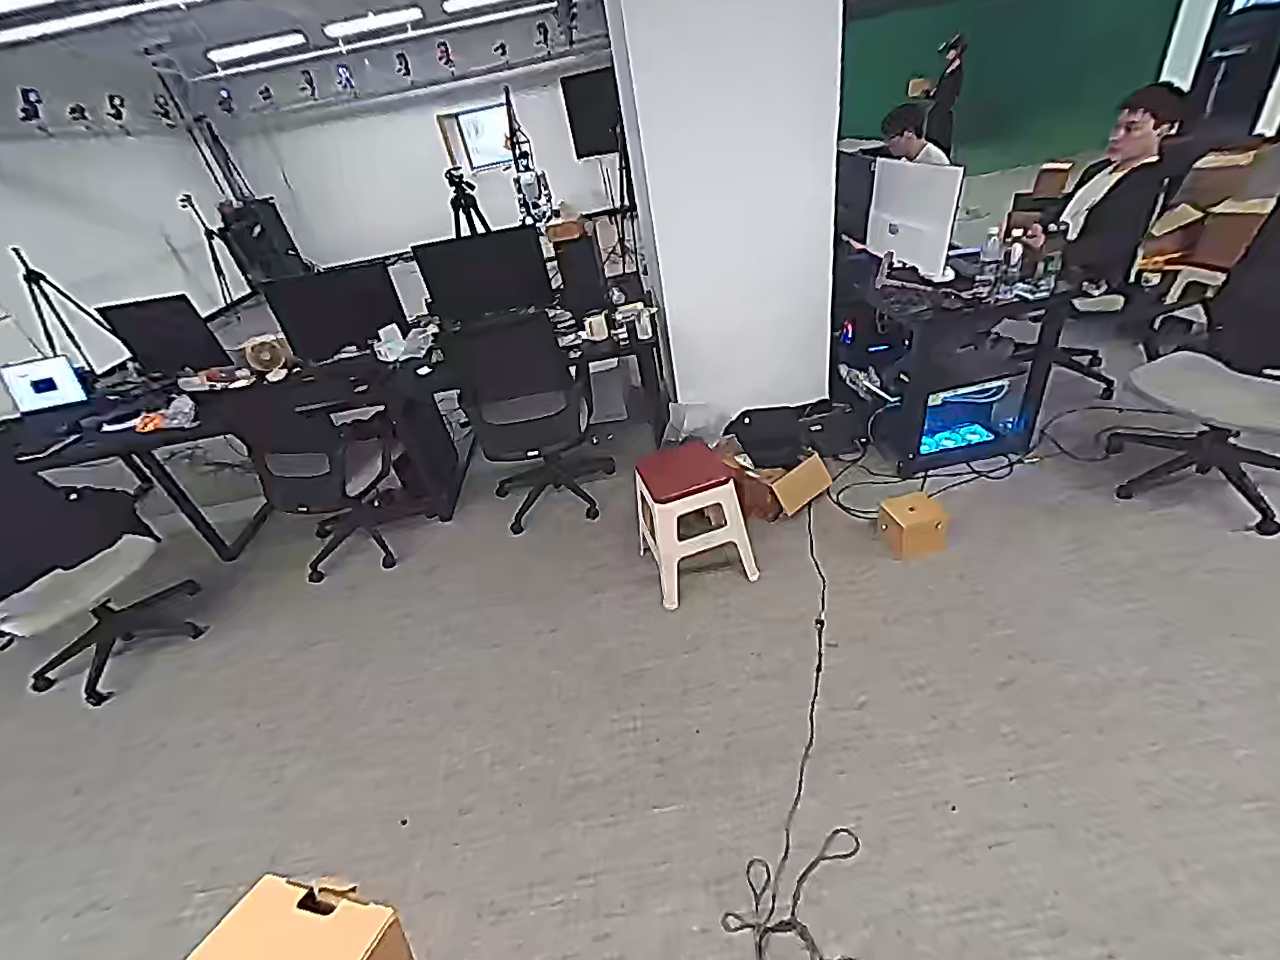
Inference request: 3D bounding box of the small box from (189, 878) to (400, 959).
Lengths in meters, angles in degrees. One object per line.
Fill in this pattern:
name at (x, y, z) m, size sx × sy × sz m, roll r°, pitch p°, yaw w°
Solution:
small box at (-0.316, 0.506, 0.470) m, size 0.168 × 0.176 × 0.179 m, roll -1°, pitch 18°, yaw 18°
